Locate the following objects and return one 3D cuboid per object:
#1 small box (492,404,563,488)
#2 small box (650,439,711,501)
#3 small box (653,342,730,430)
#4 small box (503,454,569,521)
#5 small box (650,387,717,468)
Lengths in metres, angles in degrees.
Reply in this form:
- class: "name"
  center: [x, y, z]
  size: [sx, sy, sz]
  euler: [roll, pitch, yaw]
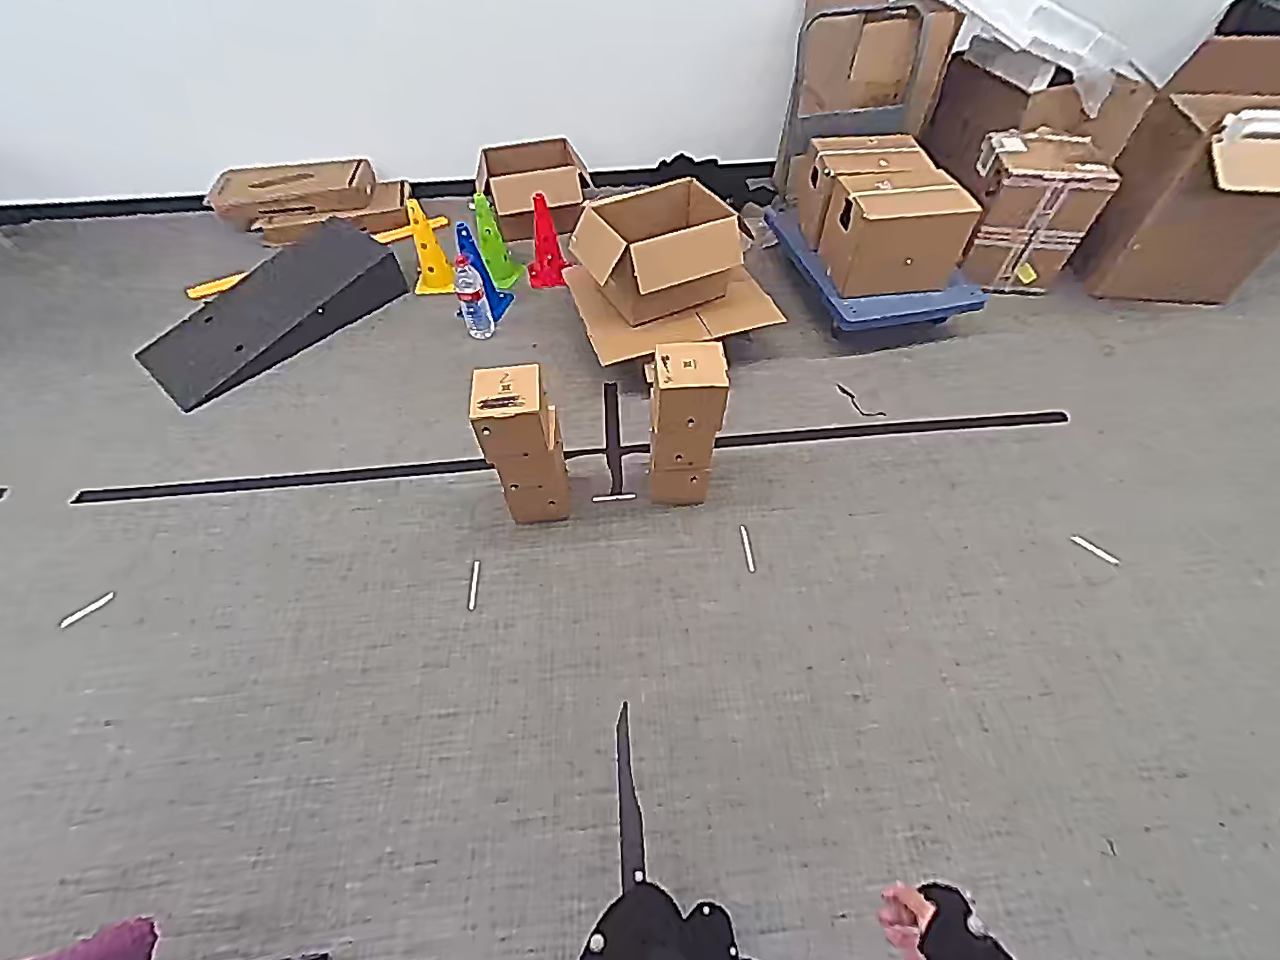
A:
- class: "small box"
  center: [-0.308, -0.090, 1.519]
  size: [0.168, 0.176, 0.179]
  euler: [-4, 52, -2]
- class: "small box"
  center: [0.120, -0.046, 1.684]
  size: [0.179, 0.176, 0.168]
  euler: [0, 53, 0]
- class: "small box"
  center: [0.129, -0.244, 1.425]
  size: [0.179, 0.176, 0.168]
  euler: [-1, 54, -2]
- class: "small box"
  center: [-0.312, 0.009, 1.651]
  size: [0.179, 0.176, 0.168]
  euler: [-7, 53, -3]
- class: "small box"
  center: [0.118, -0.153, 1.561]
  size: [0.168, 0.176, 0.179]
  euler: [-3, 54, -3]
